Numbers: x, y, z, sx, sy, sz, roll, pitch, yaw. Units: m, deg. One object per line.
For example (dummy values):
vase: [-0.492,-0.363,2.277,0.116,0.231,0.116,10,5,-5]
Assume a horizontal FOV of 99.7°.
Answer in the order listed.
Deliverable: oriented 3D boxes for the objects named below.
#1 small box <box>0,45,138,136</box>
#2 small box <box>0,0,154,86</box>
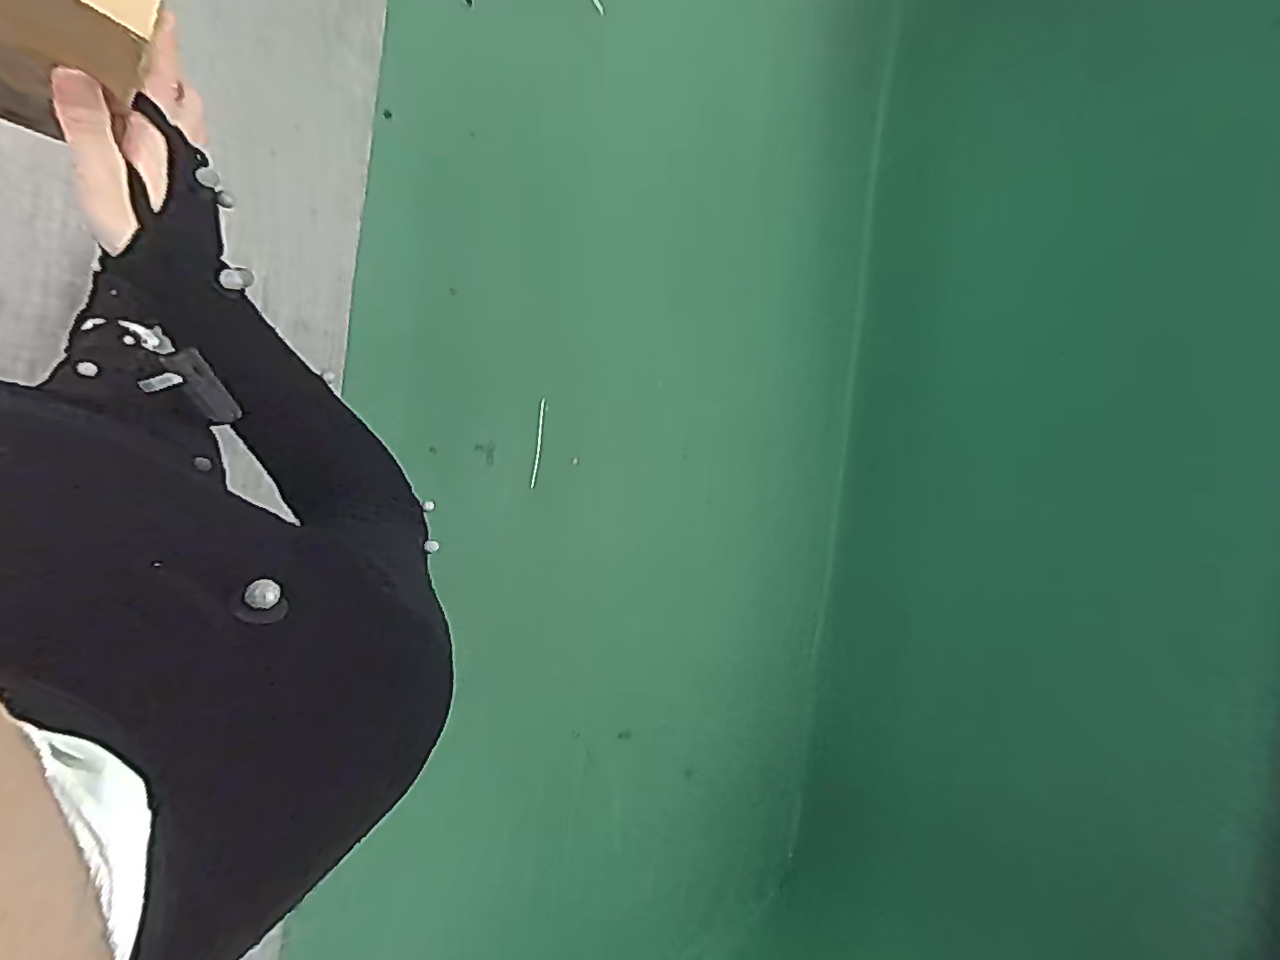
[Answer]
small box: [-0.439,-0.369,0.358,0.168,0.176,0.179,7,95,-47]
small box: [-0.327,-0.328,0.244,0.179,0.176,0.168,14,91,-47]
